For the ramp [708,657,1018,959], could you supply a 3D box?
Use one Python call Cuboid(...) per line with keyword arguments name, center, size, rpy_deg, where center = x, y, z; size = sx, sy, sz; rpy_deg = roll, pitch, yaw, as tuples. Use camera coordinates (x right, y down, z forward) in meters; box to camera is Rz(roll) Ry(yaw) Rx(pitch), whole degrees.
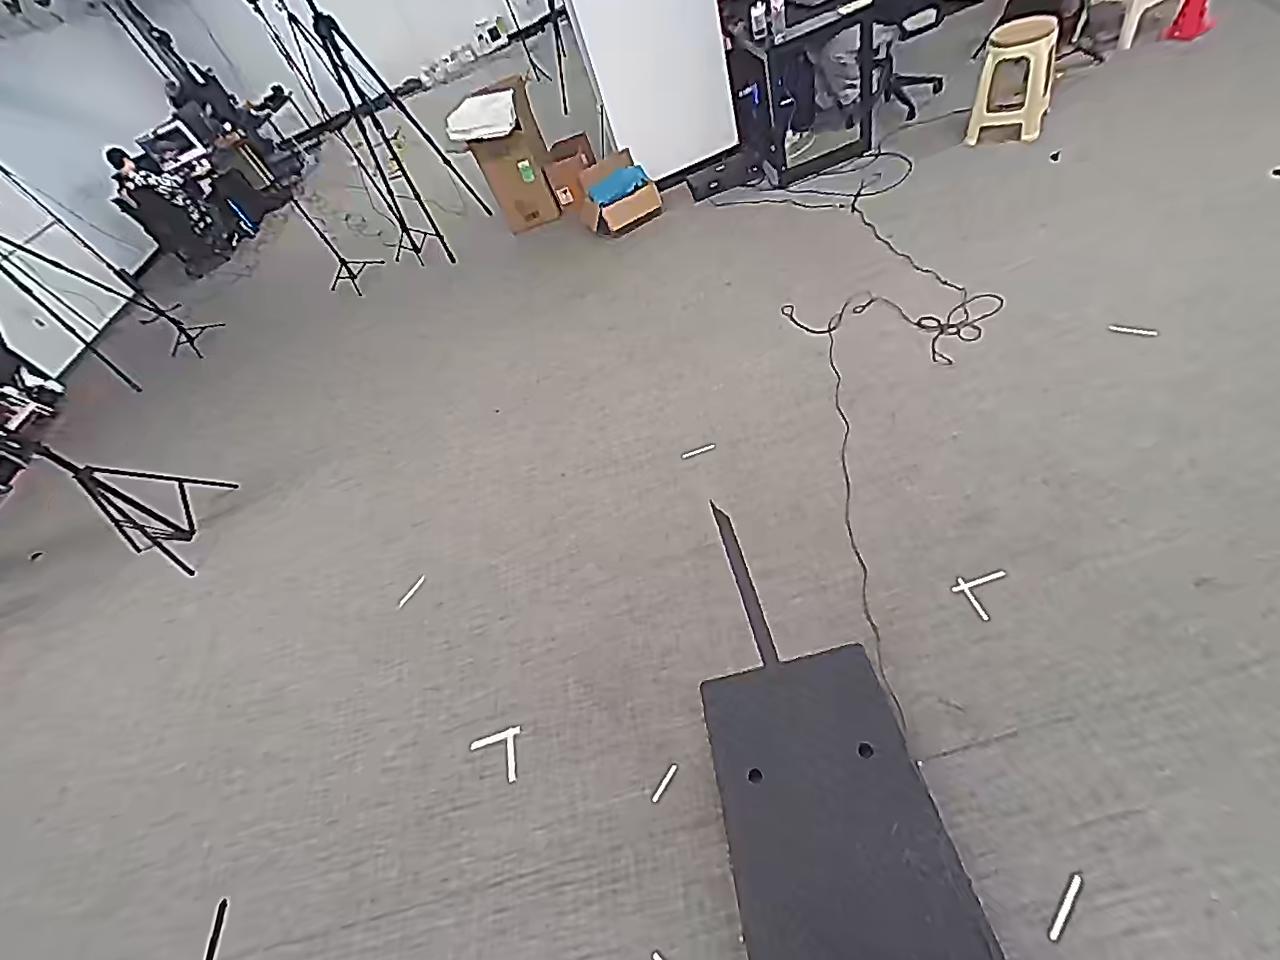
Cuboid(name="ramp", center=(0.472, 0.884, 1.201), size=(0.509, 0.206, 0.991), rpy_deg=(-21, 45, 7))
